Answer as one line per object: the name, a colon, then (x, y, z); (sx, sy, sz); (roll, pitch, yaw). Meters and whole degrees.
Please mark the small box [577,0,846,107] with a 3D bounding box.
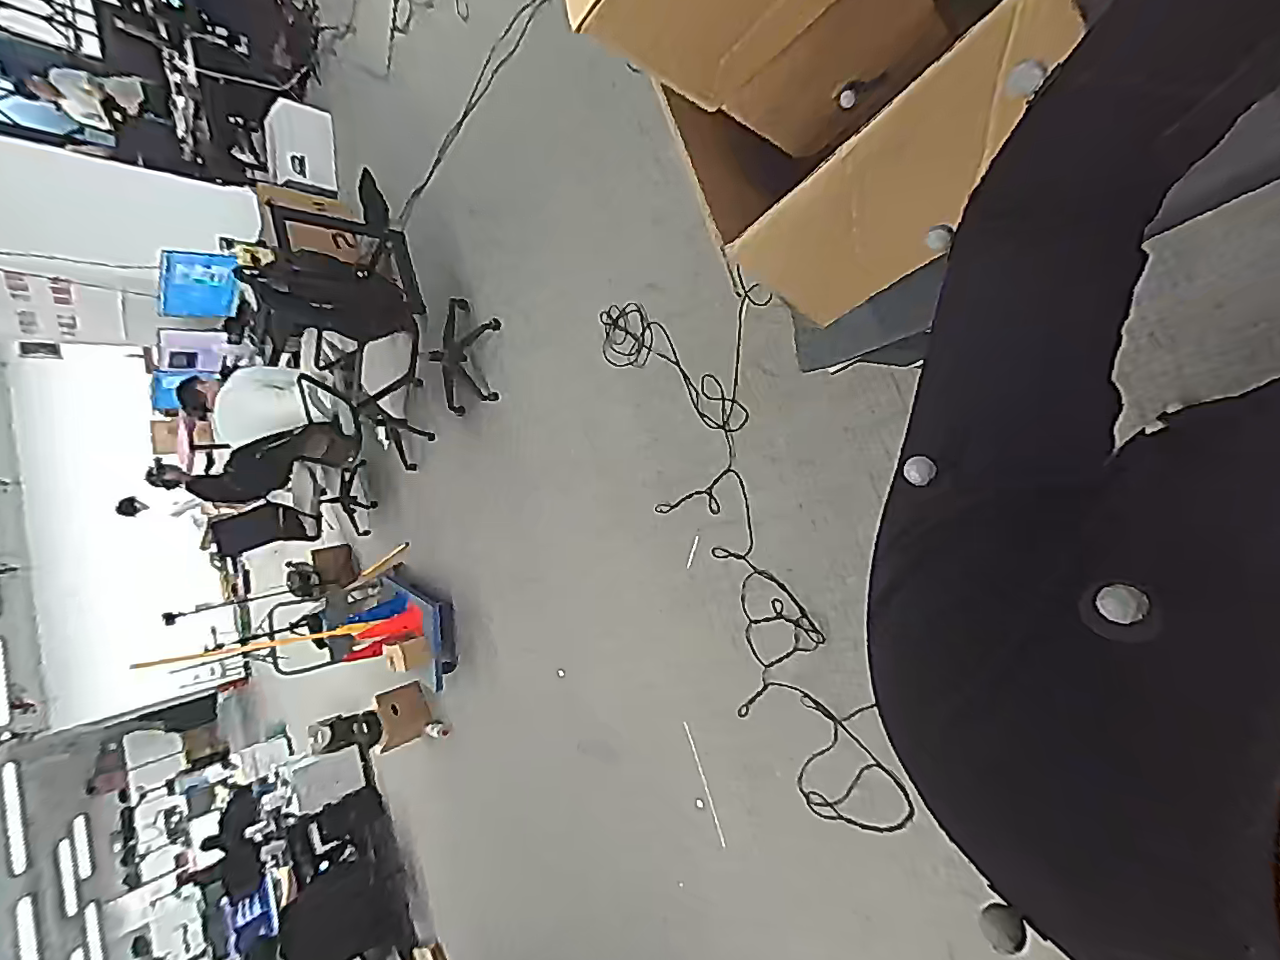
small box: (0.056, -0.436, 0.410); (0.179, 0.176, 0.168); (-19, 83, 44)
